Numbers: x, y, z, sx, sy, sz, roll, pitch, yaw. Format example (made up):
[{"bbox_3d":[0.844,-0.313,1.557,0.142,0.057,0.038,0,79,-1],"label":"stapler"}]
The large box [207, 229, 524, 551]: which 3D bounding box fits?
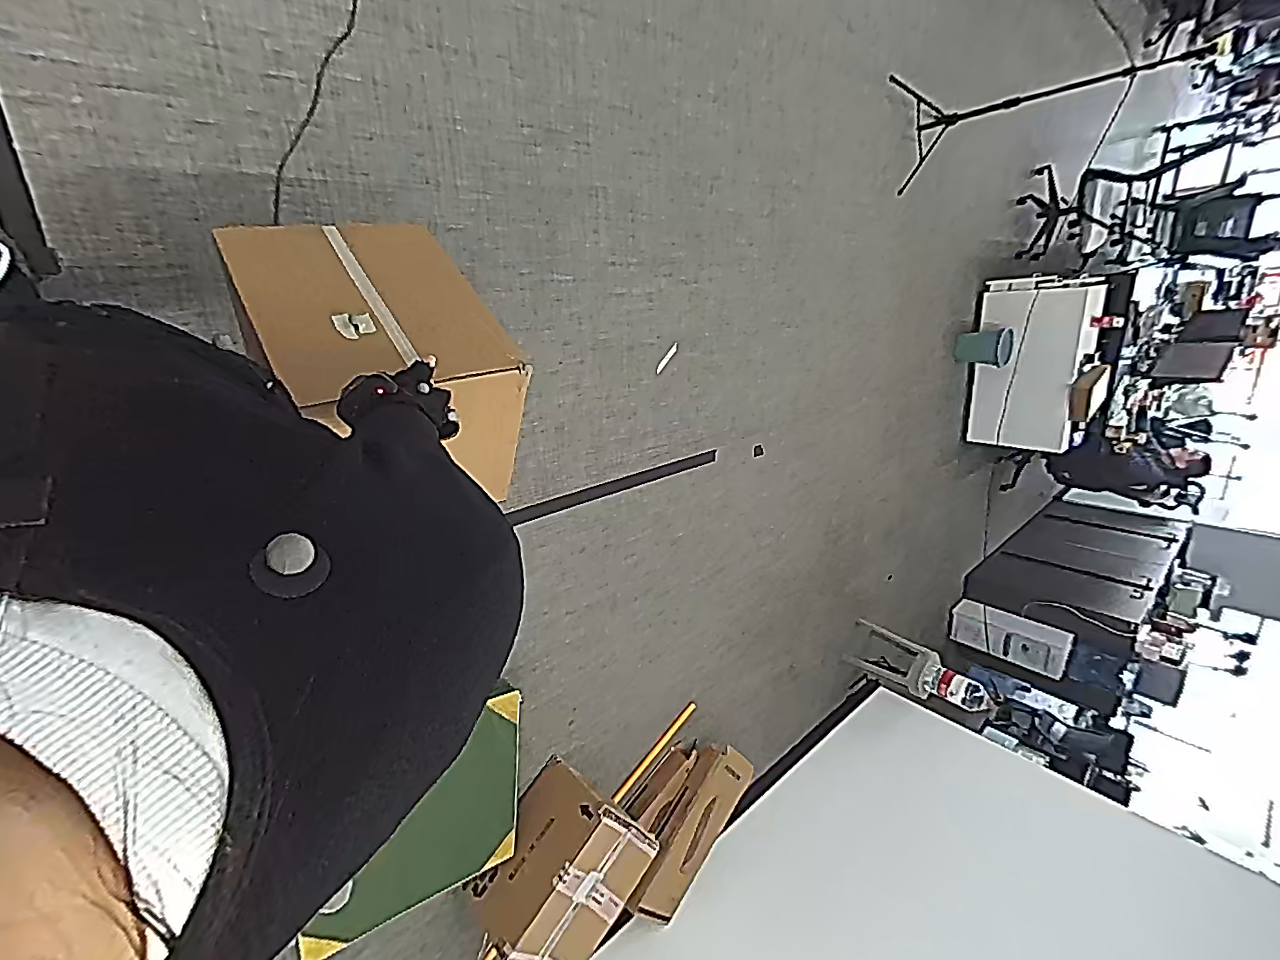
[{"bbox_3d":[-0.442,-0.162,0.894,0.320,0.408,0.320,-21,151,-33],"label":"large box"}]
